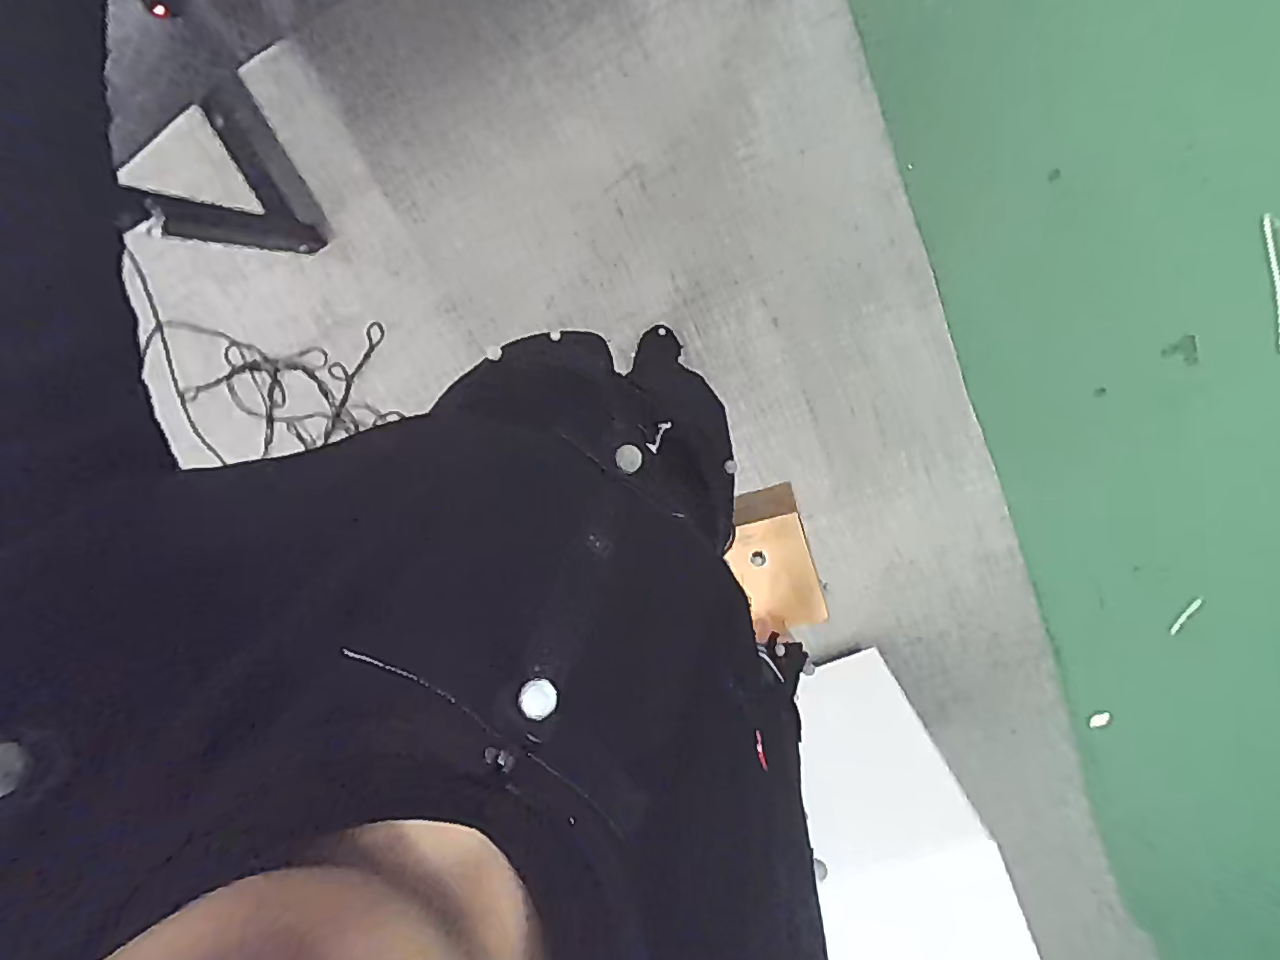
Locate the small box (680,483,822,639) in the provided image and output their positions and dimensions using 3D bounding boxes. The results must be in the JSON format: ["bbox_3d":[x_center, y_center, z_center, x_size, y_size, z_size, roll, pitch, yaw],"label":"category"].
[{"bbox_3d":[0.169,0.114,0.831,0.168,0.179,0.176,-16,101,15],"label":"small box"}]
